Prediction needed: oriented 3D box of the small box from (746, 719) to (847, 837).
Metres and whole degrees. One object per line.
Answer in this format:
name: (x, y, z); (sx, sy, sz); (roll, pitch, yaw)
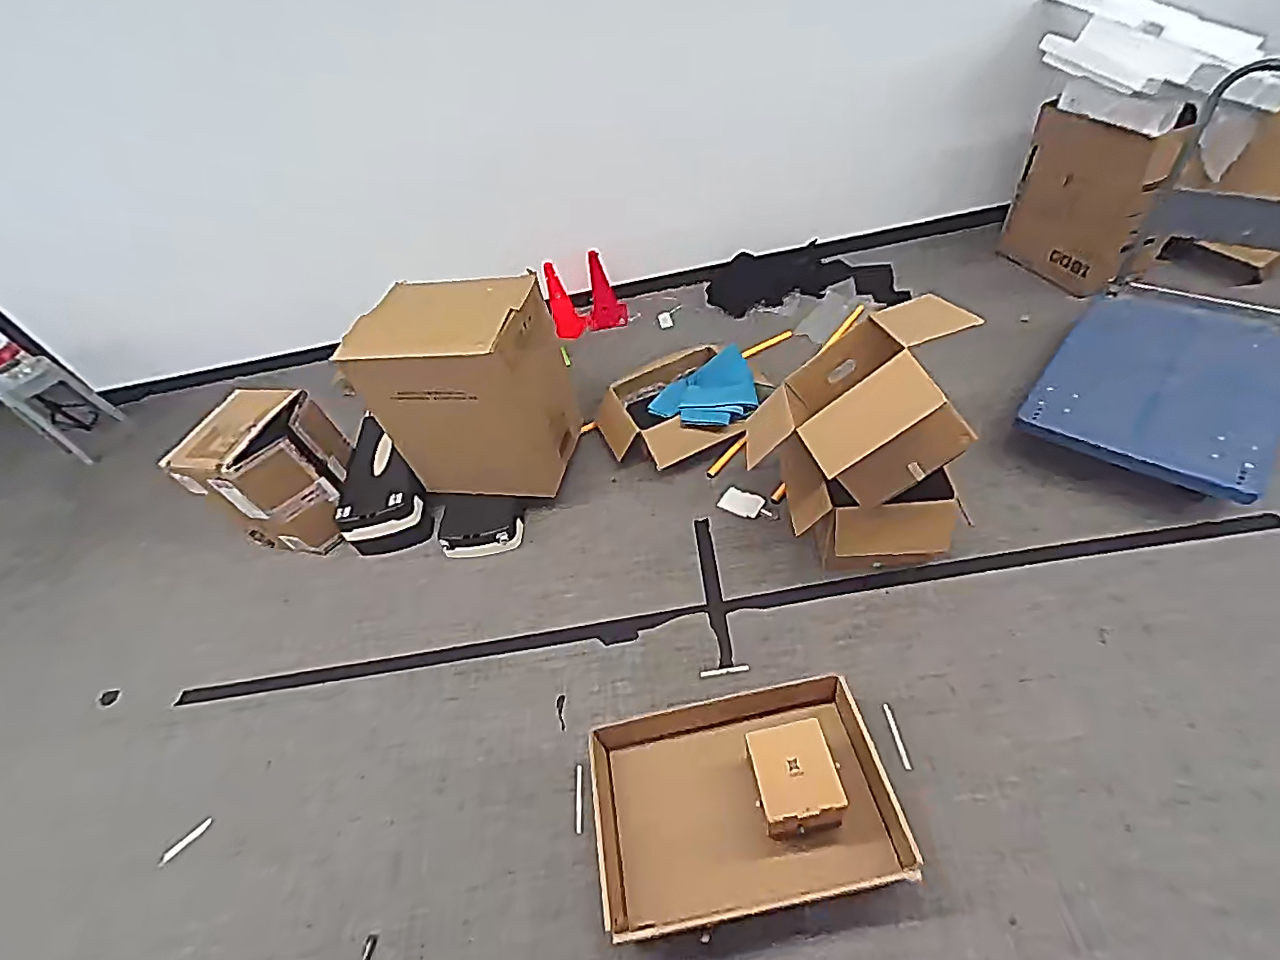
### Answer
small box: (0.335, 0.657, 1.189); (0.168, 0.176, 0.179); (-14, 47, 2)
